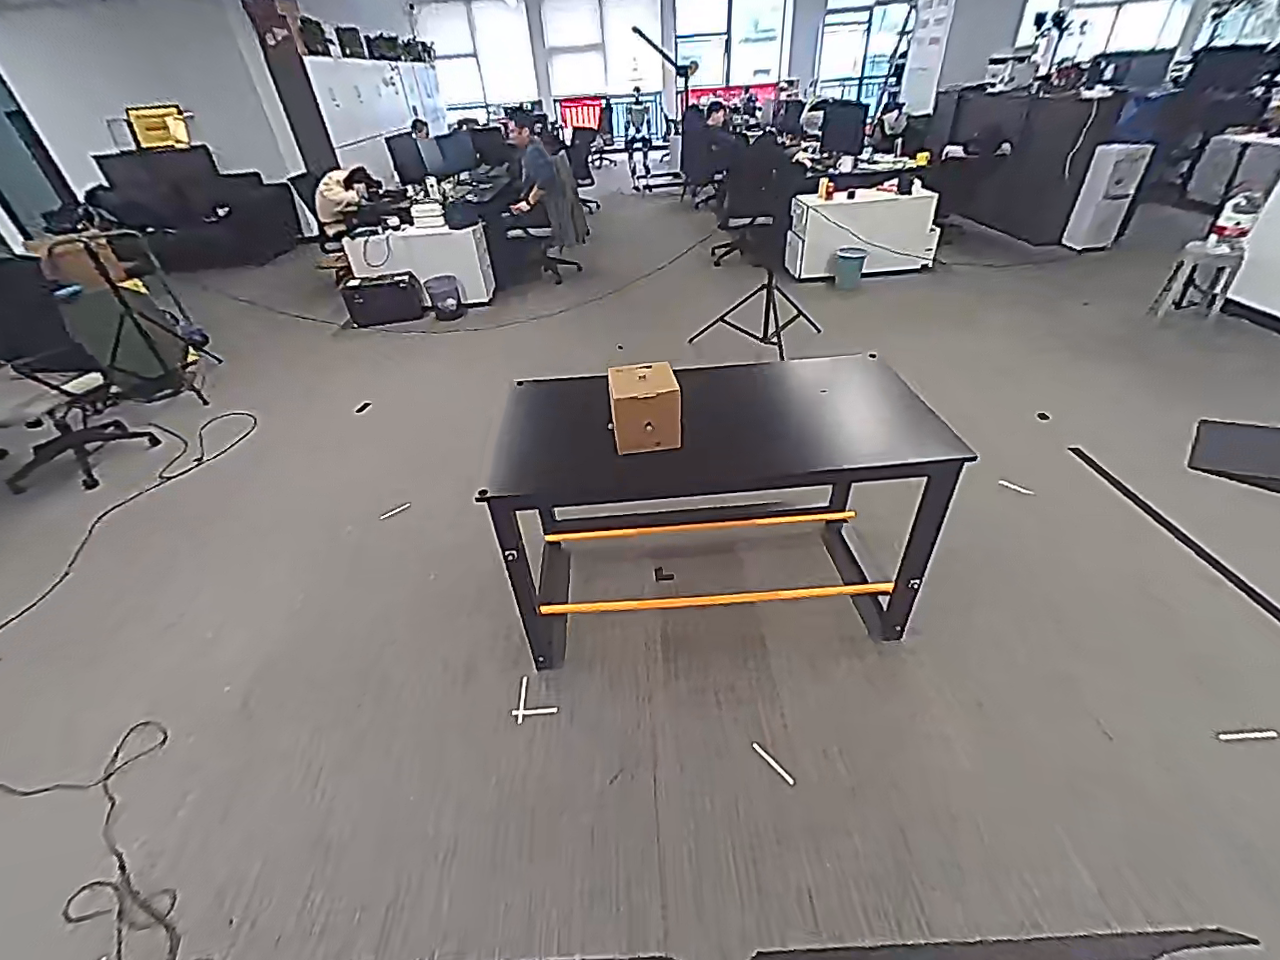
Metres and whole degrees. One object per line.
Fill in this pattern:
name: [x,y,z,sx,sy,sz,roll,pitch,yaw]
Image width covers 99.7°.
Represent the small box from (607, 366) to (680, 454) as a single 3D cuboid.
small box: [0.009,-0.180,1.427,0.168,0.176,0.179,-8,37,-4]
